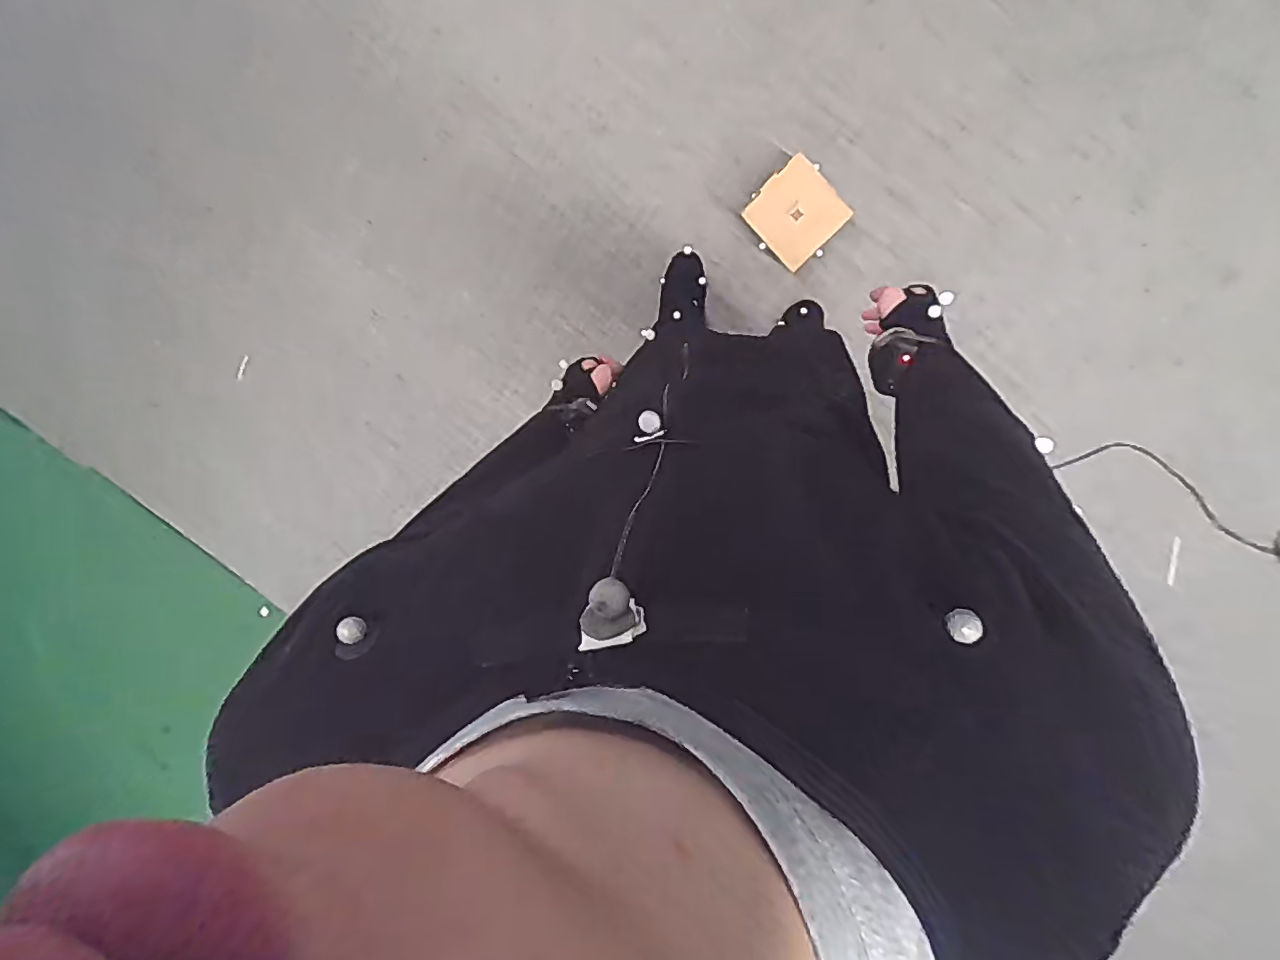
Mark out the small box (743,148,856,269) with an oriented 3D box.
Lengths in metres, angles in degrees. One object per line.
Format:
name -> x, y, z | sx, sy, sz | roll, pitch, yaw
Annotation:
small box -> 0.356, -0.601, 1.220 | 0.179, 0.176, 0.168 | 45, 117, -6
